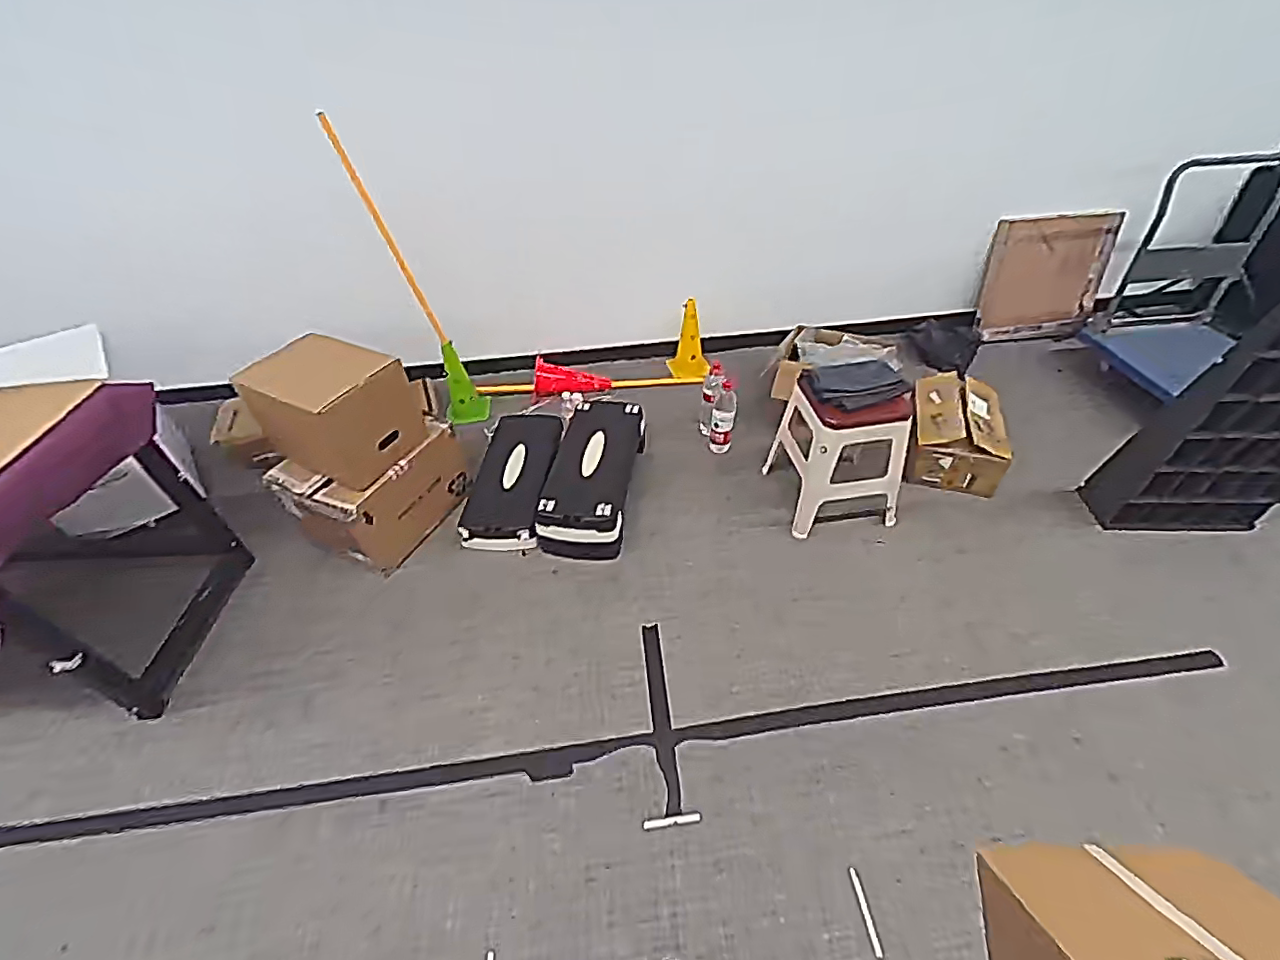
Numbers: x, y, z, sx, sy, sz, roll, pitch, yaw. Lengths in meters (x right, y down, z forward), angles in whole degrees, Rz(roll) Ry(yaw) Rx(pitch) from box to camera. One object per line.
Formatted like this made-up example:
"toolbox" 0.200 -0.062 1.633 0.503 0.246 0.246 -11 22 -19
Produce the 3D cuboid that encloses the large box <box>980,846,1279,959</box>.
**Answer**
"large box" 0.638 0.676 0.586 0.320 0.408 0.320 -3 83 8
